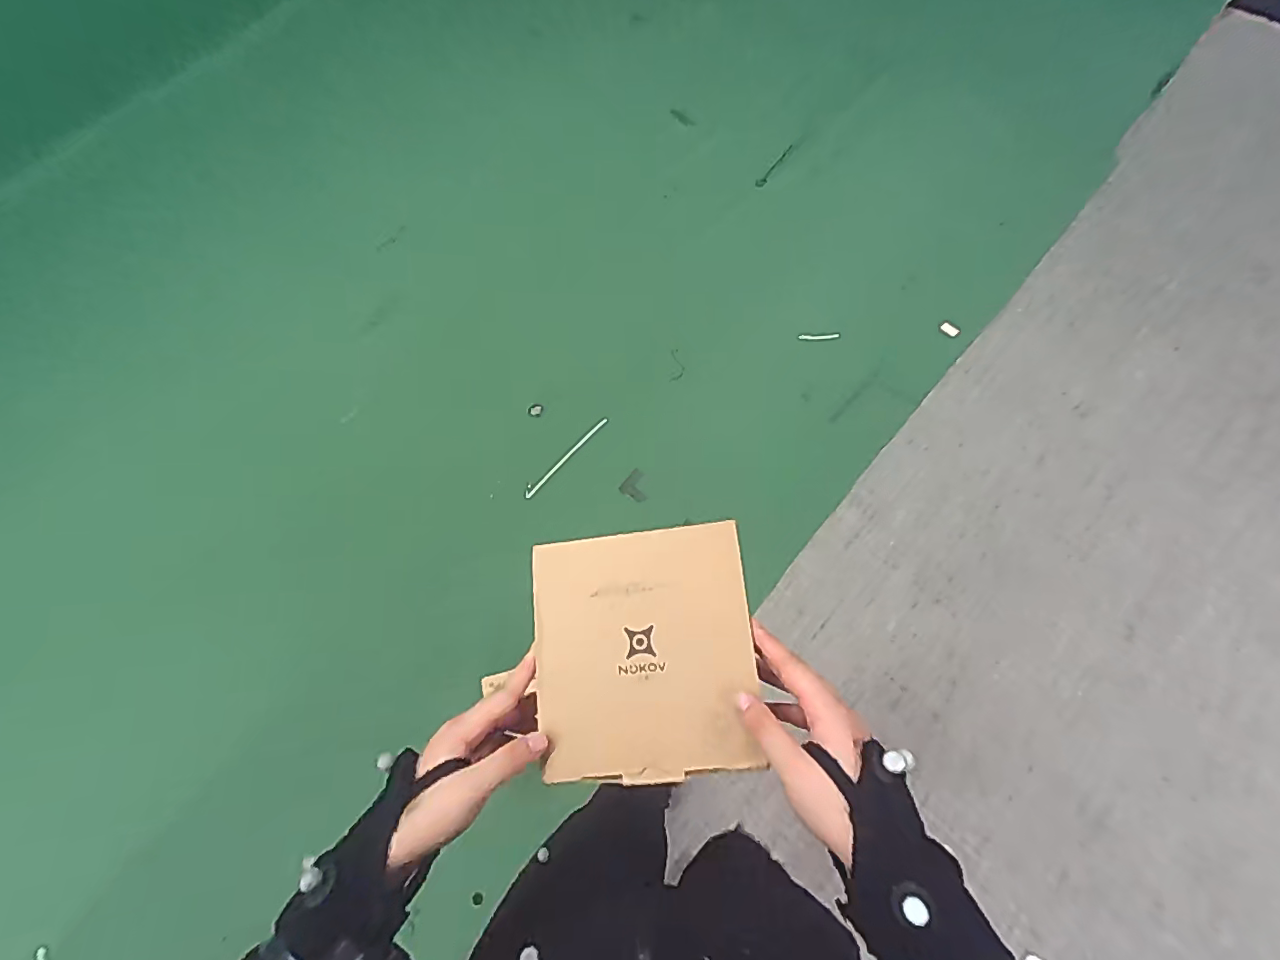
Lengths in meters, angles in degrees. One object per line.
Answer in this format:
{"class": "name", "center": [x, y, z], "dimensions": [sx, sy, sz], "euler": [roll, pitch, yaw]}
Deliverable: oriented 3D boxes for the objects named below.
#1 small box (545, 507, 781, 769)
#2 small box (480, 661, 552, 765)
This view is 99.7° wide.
{"class": "small box", "center": [0.024, 0.135, 0.472], "dimensions": [0.168, 0.176, 0.179], "euler": [-8, 71, 7]}
{"class": "small box", "center": [-0.239, 0.511, 1.207], "dimensions": [0.168, 0.176, 0.179], "euler": [-14, 69, -1]}
